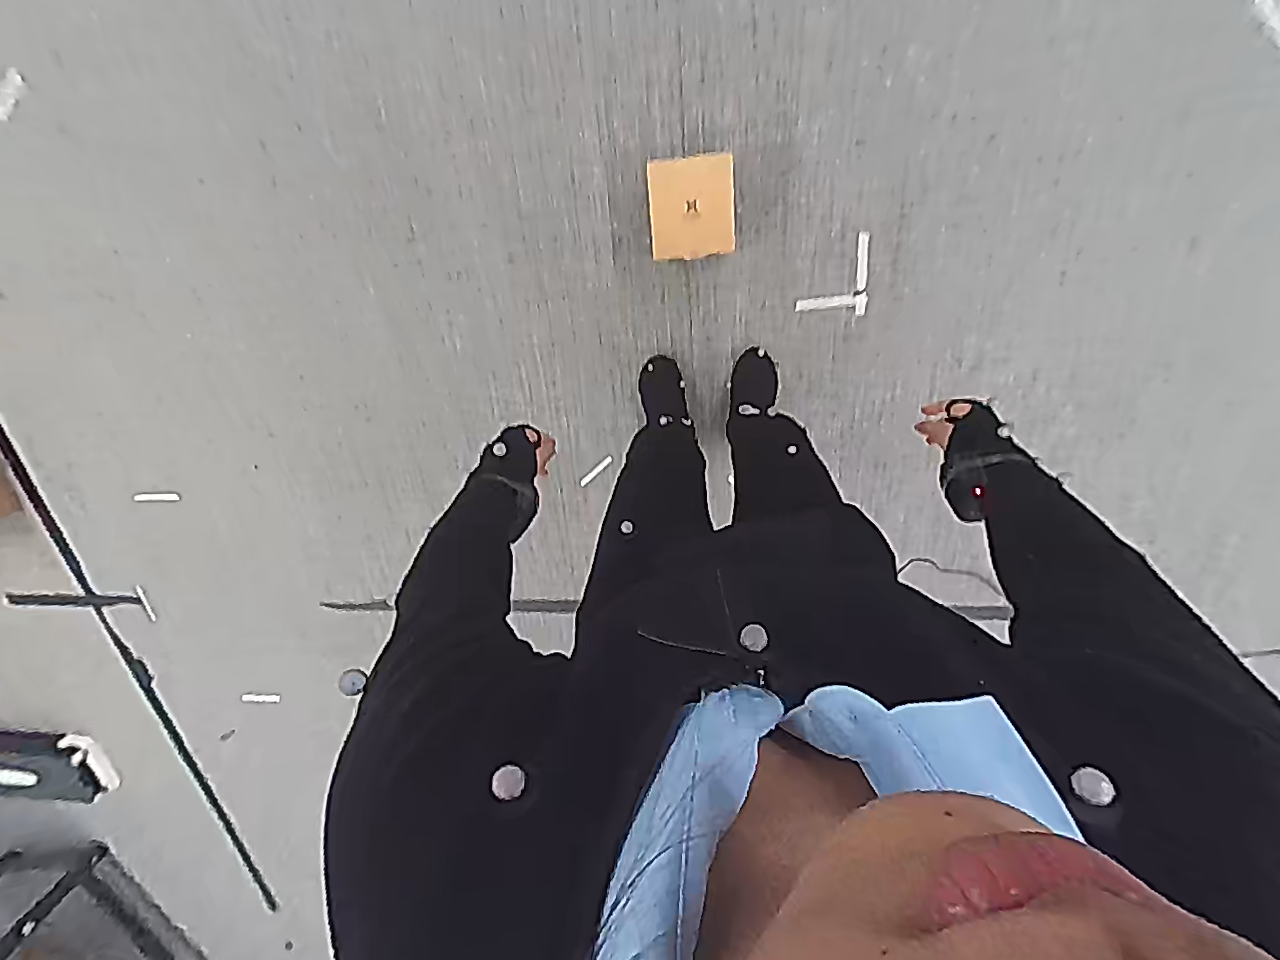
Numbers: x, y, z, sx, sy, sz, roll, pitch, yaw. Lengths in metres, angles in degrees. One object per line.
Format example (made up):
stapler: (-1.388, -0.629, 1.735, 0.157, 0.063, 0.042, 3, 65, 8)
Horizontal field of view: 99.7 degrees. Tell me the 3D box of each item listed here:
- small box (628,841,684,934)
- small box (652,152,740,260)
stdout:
small box: (0.054, 1.290, 1.716, 0.168, 0.176, 0.179, 0, 113, 5)
small box: (0.116, -0.560, 1.124, 0.168, 0.176, 0.179, -4, 113, 7)
